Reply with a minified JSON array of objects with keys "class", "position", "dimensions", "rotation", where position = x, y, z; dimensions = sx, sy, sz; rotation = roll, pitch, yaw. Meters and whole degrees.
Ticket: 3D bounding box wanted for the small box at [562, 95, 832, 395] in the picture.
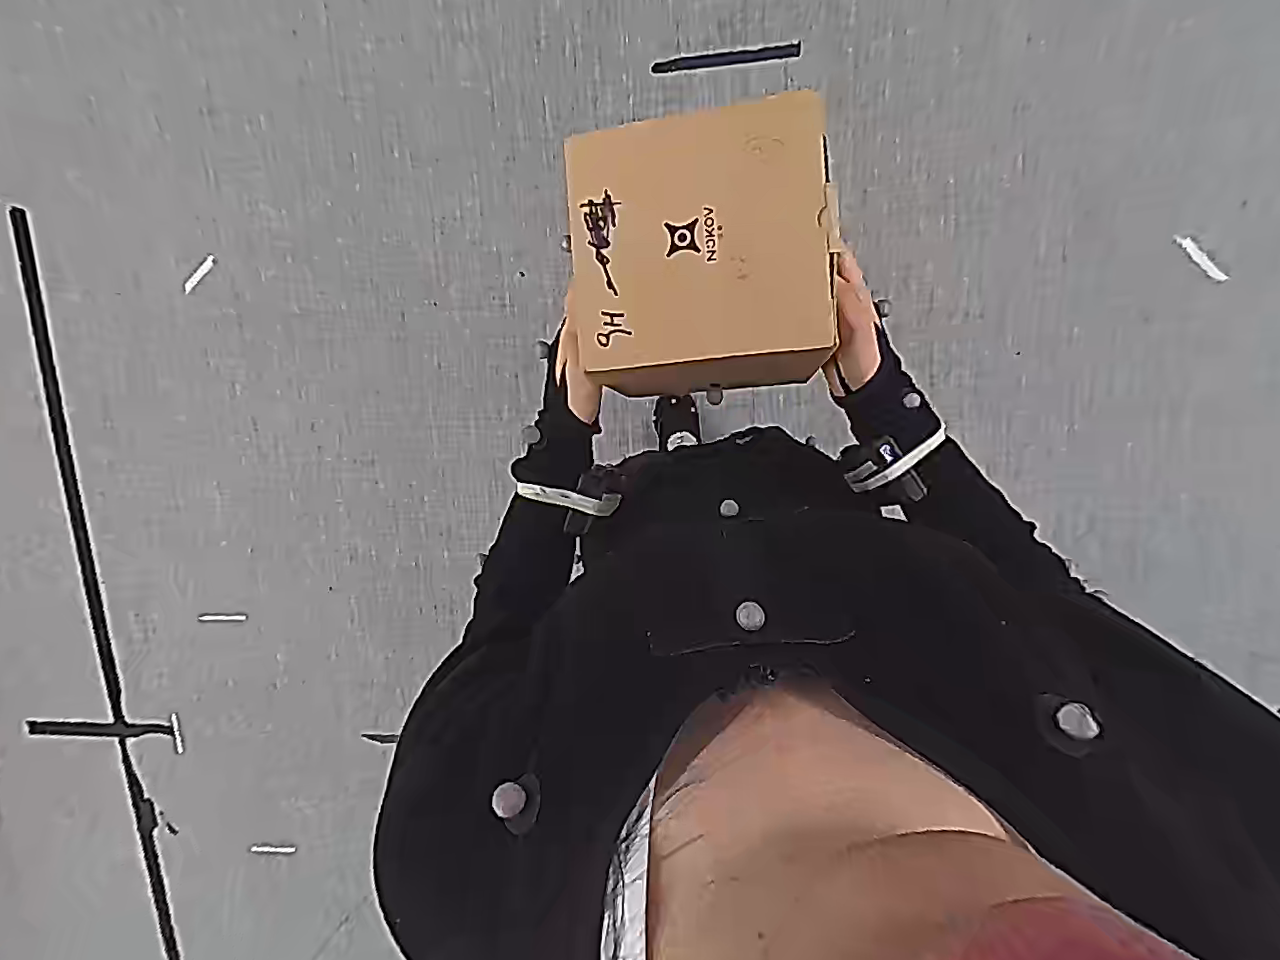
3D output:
[{"class":"small box","position":[0.048,-0.165,0.441],"dimensions":[0.179,0.176,0.168],"rotation":[-3,91,10]}]
